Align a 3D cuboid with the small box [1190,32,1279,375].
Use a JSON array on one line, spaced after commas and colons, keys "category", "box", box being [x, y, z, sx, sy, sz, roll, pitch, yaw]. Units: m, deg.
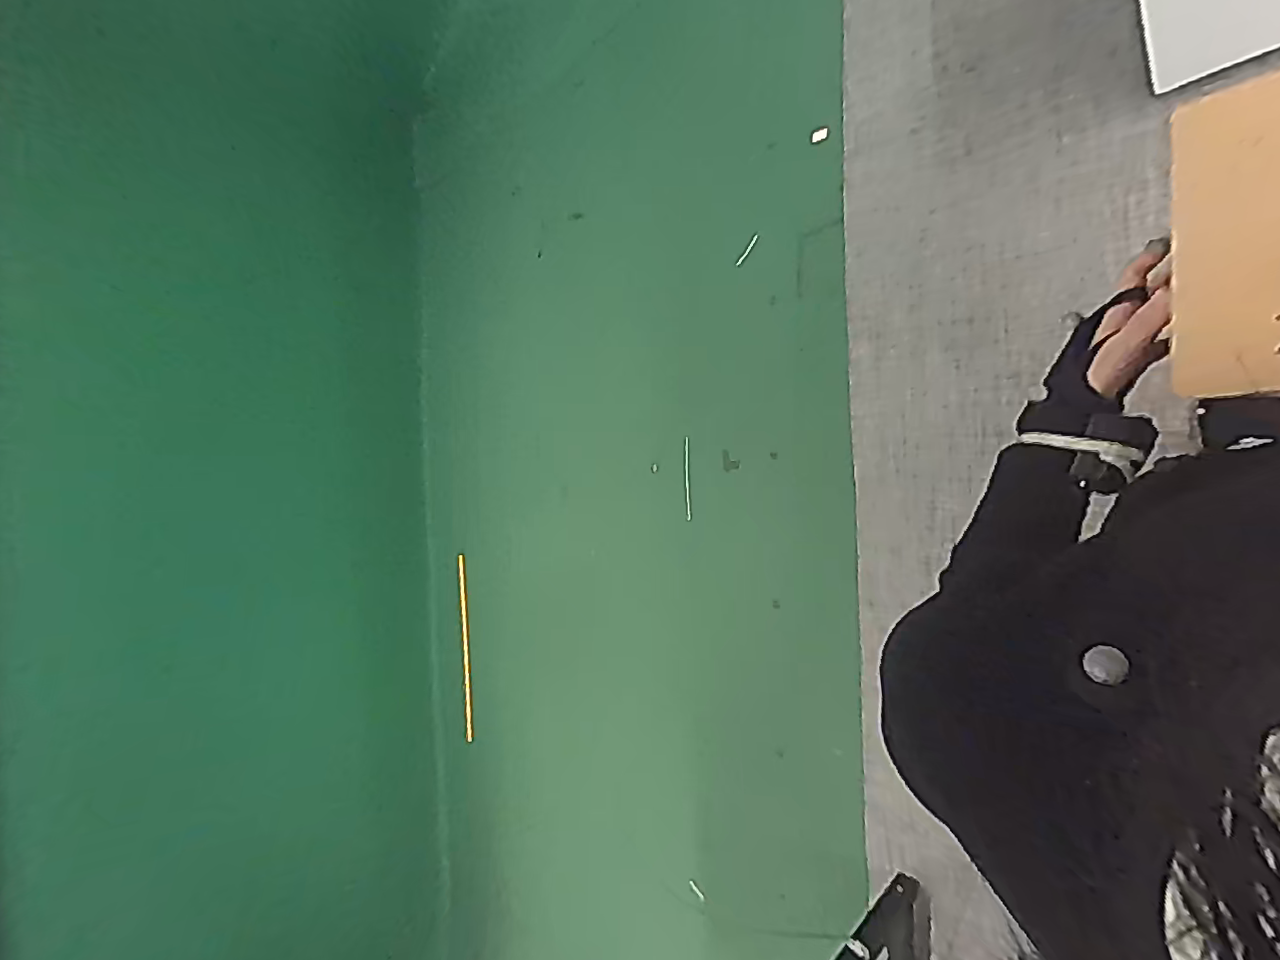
[{"category": "small box", "box": [0.435, -0.166, 0.305, 0.168, 0.176, 0.179, 2, 108, 50]}]
